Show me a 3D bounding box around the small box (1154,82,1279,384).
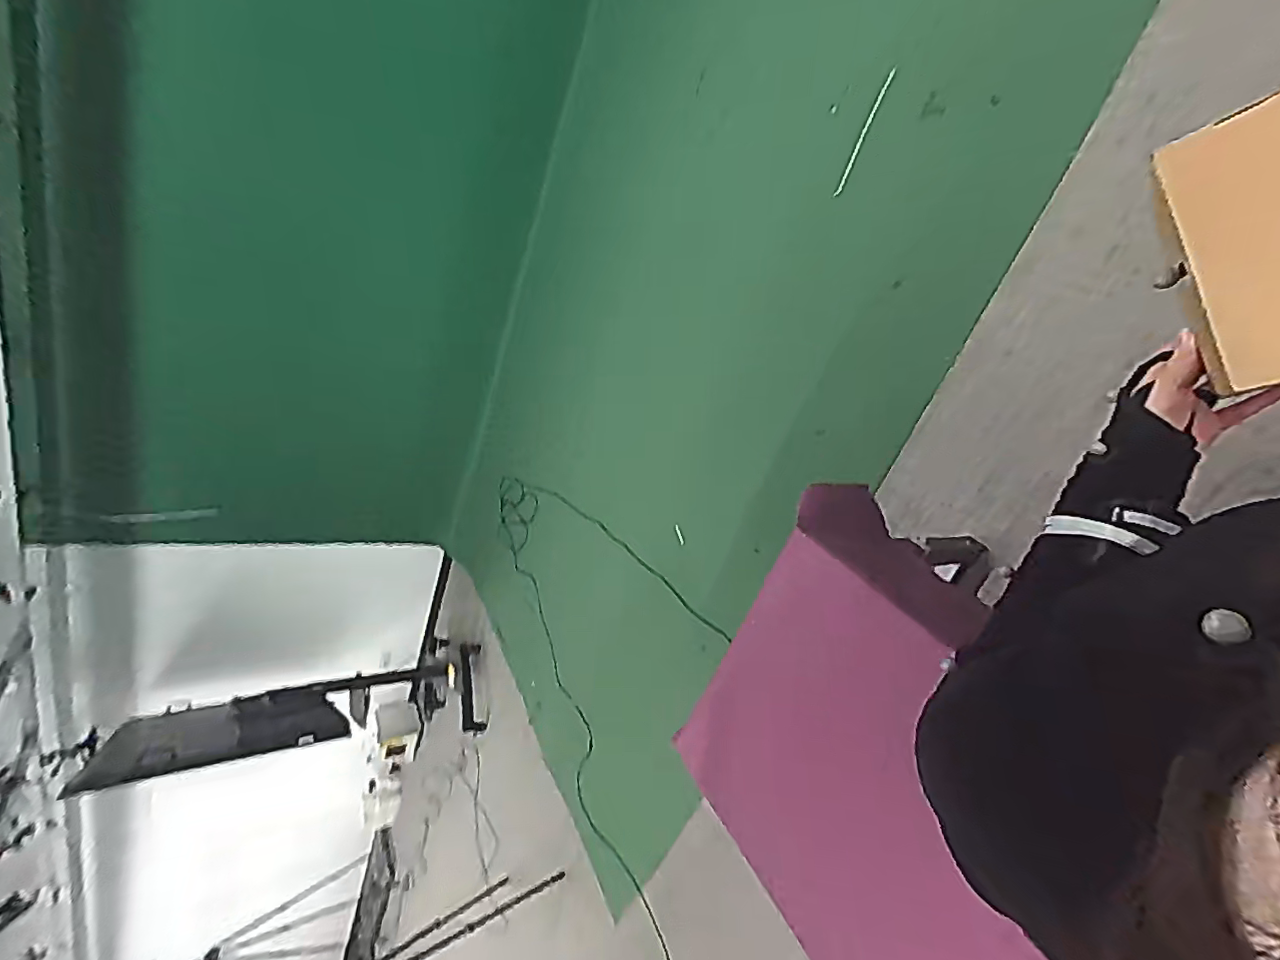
[{"bbox_3d":[0.483,-0.171,0.363,0.168,0.176,0.179,-17,81,45],"label":"small box"}]
